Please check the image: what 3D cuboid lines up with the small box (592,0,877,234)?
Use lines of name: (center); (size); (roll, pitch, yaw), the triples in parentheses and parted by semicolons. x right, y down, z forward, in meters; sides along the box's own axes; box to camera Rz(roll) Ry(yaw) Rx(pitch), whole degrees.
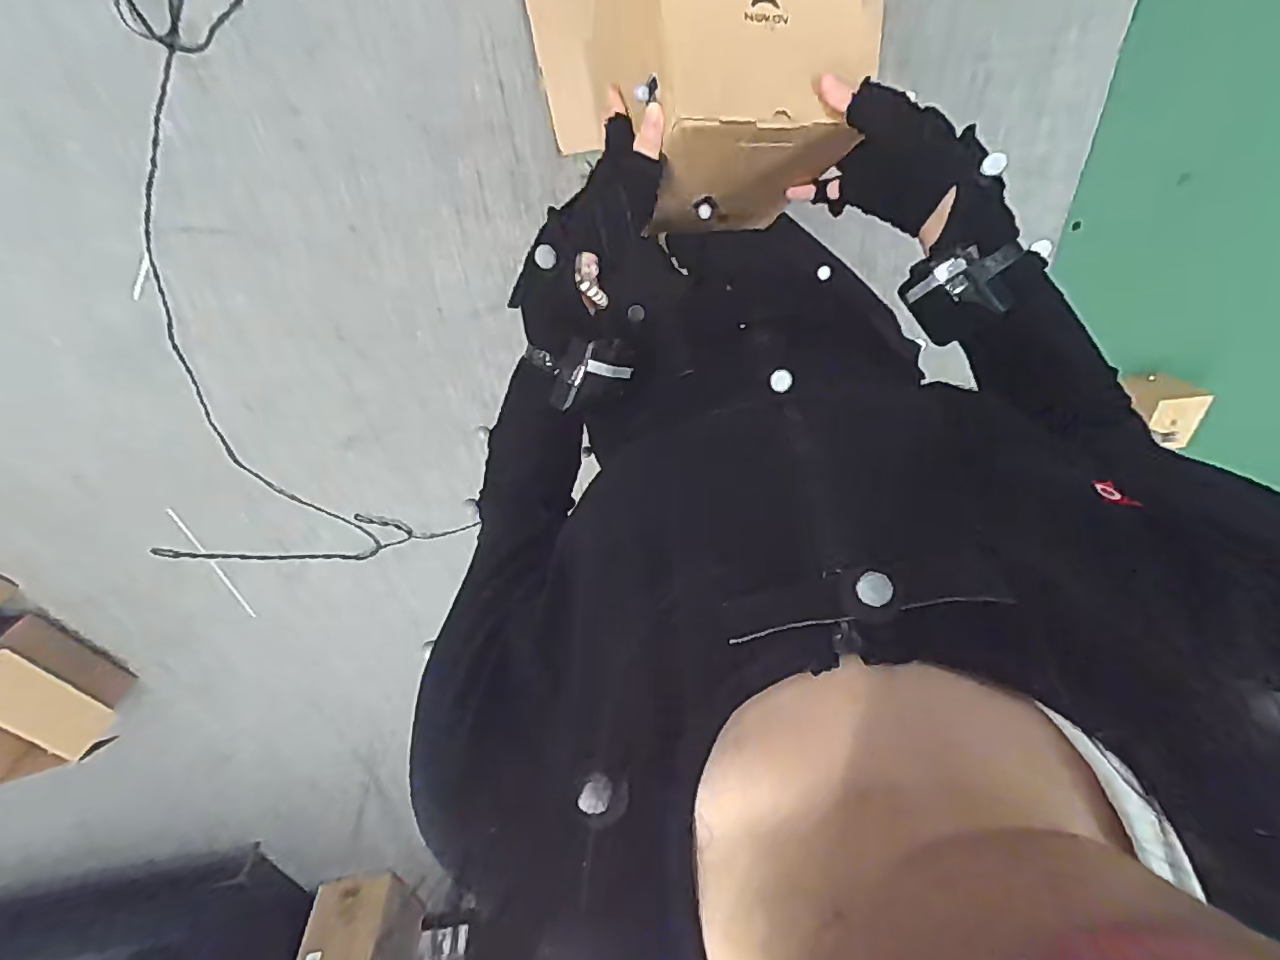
small box: (0.065, -0.337, 0.461); (0.168, 0.176, 0.179); (-11, 91, -16)
